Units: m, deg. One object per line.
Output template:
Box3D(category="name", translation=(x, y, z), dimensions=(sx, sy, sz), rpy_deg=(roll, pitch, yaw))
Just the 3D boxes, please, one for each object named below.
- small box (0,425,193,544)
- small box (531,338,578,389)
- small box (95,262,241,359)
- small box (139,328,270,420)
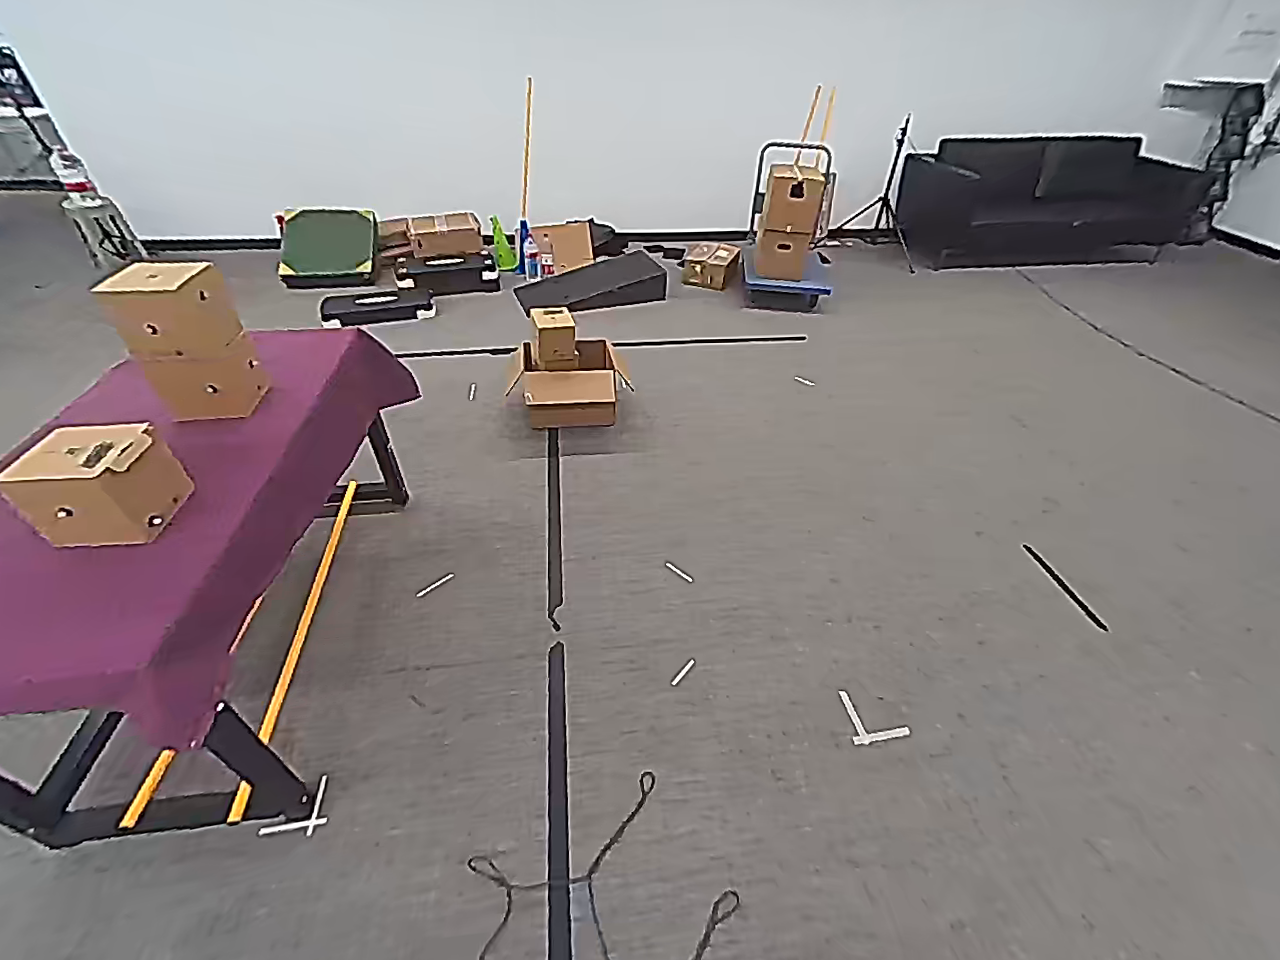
Box3D(category="small box", translation=(-1.029, 0.009, 1.045), dimensions=(0.179, 0.176, 0.168), rpy_deg=(-2, 41, -4))
Box3D(category="small box", translation=(-0.401, -0.547, 2.550), dimensions=(0.179, 0.176, 0.168), rpy_deg=(-17, 48, -25))
Box3D(category="small box", translation=(-1.076, -0.391, 1.256), dimensions=(0.168, 0.176, 0.179), rpy_deg=(-3, 40, -7))
Box3D(category="small box", translation=(-1.079, -0.266, 1.363), dimensions=(0.179, 0.176, 0.168), rpy_deg=(-4, 41, -7))
